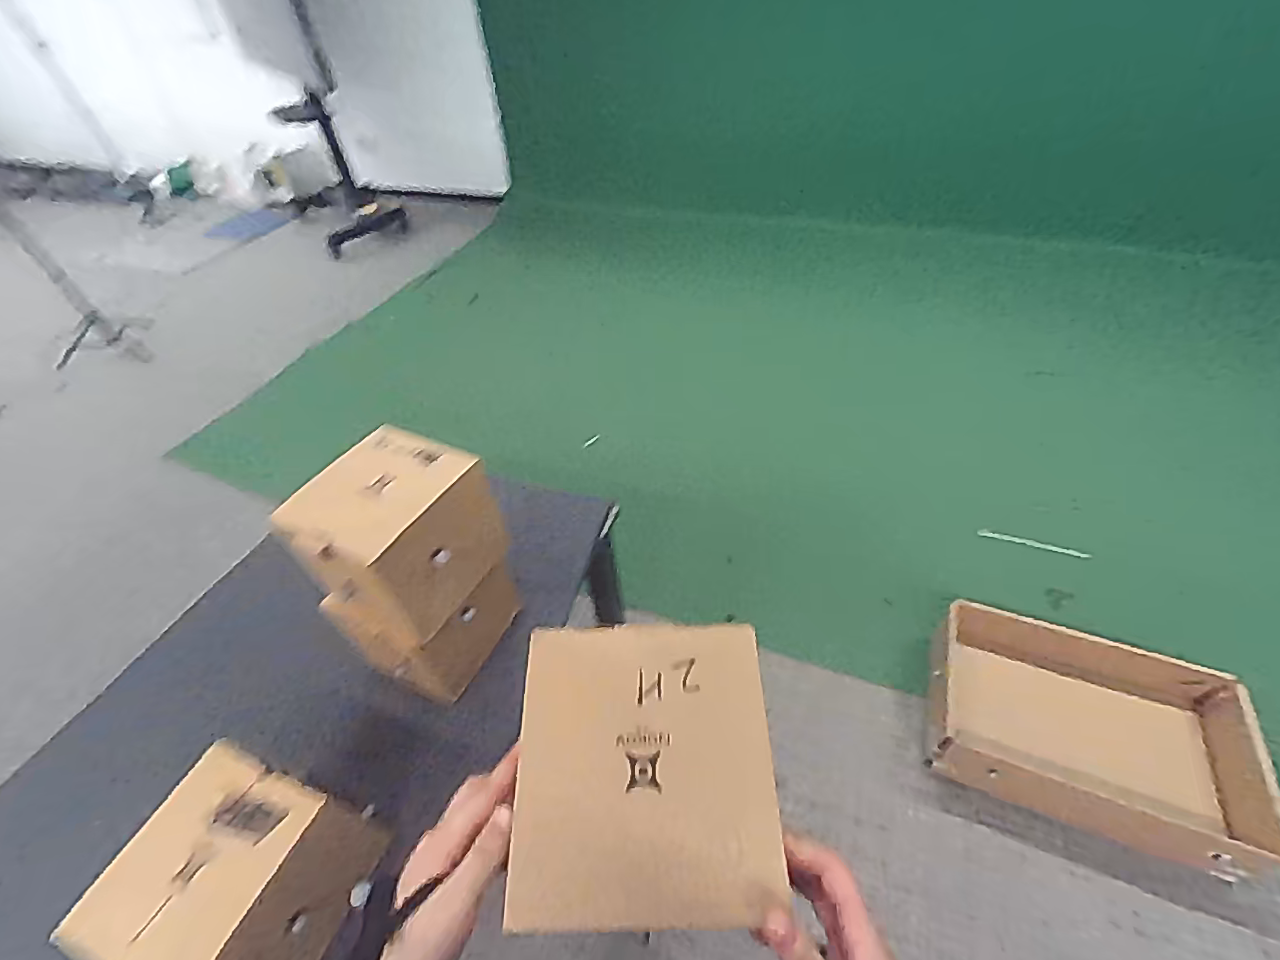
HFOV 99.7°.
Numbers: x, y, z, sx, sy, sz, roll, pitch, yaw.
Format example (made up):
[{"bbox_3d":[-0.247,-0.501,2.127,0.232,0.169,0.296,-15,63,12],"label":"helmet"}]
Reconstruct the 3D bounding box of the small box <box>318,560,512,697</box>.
[{"bbox_3d":[-0.308,0.182,0.784,0.168,0.176,0.179,16,48,19],"label":"small box"}]

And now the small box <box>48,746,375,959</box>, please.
[{"bbox_3d":[-0.410,0.417,0.561,0.168,0.176,0.179,12,50,18],"label":"small box"}]

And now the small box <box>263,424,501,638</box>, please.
[{"bbox_3d":[-0.298,0.064,0.669,0.168,0.176,0.179,18,50,21],"label":"small box"}]
